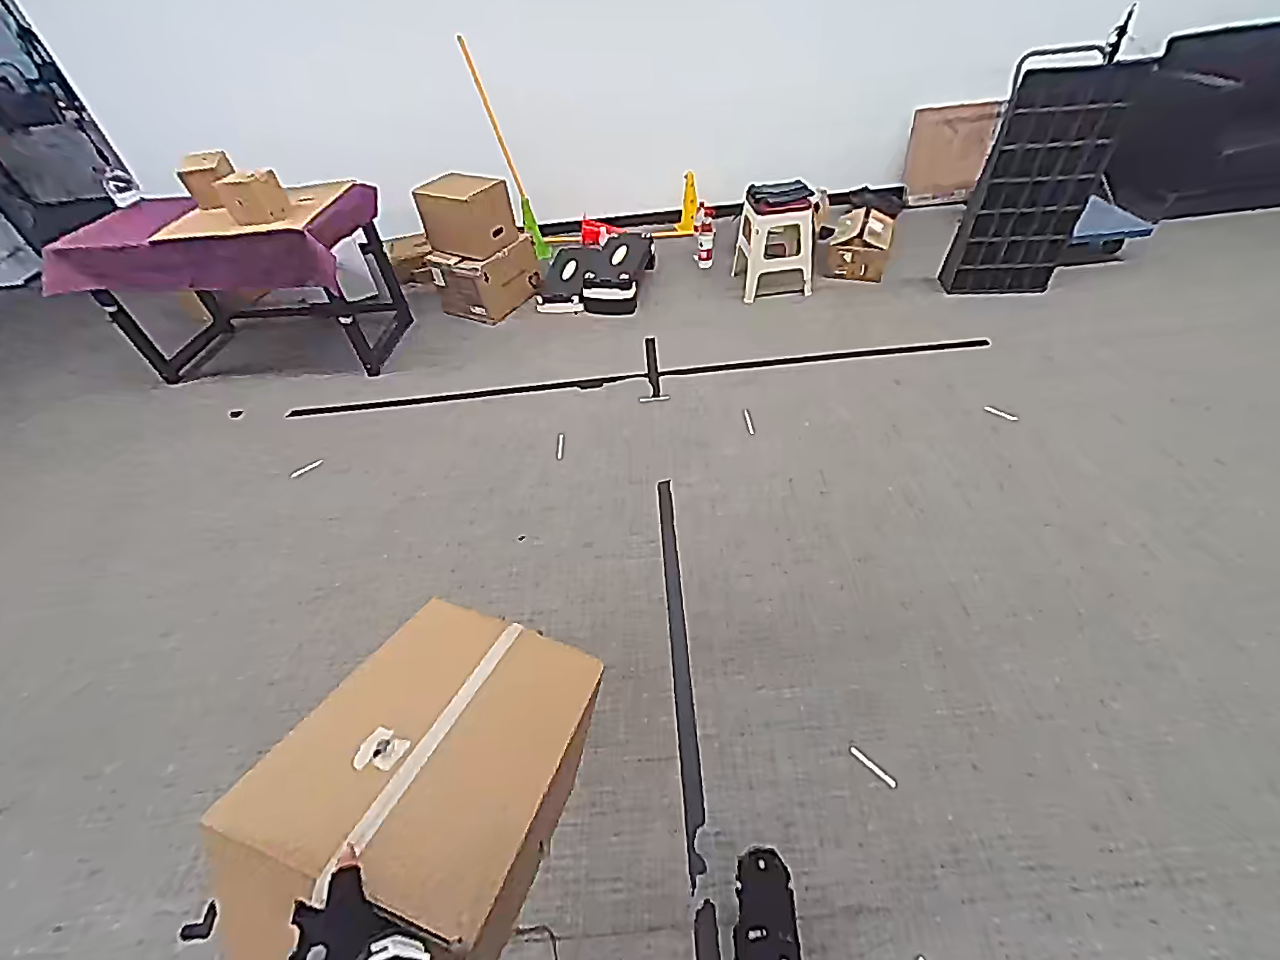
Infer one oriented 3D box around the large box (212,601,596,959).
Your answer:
[{"bbox_3d":[-0.294,0.457,0.787,0.320,0.320,0.408,18,28,8],"label":"large box"}]
